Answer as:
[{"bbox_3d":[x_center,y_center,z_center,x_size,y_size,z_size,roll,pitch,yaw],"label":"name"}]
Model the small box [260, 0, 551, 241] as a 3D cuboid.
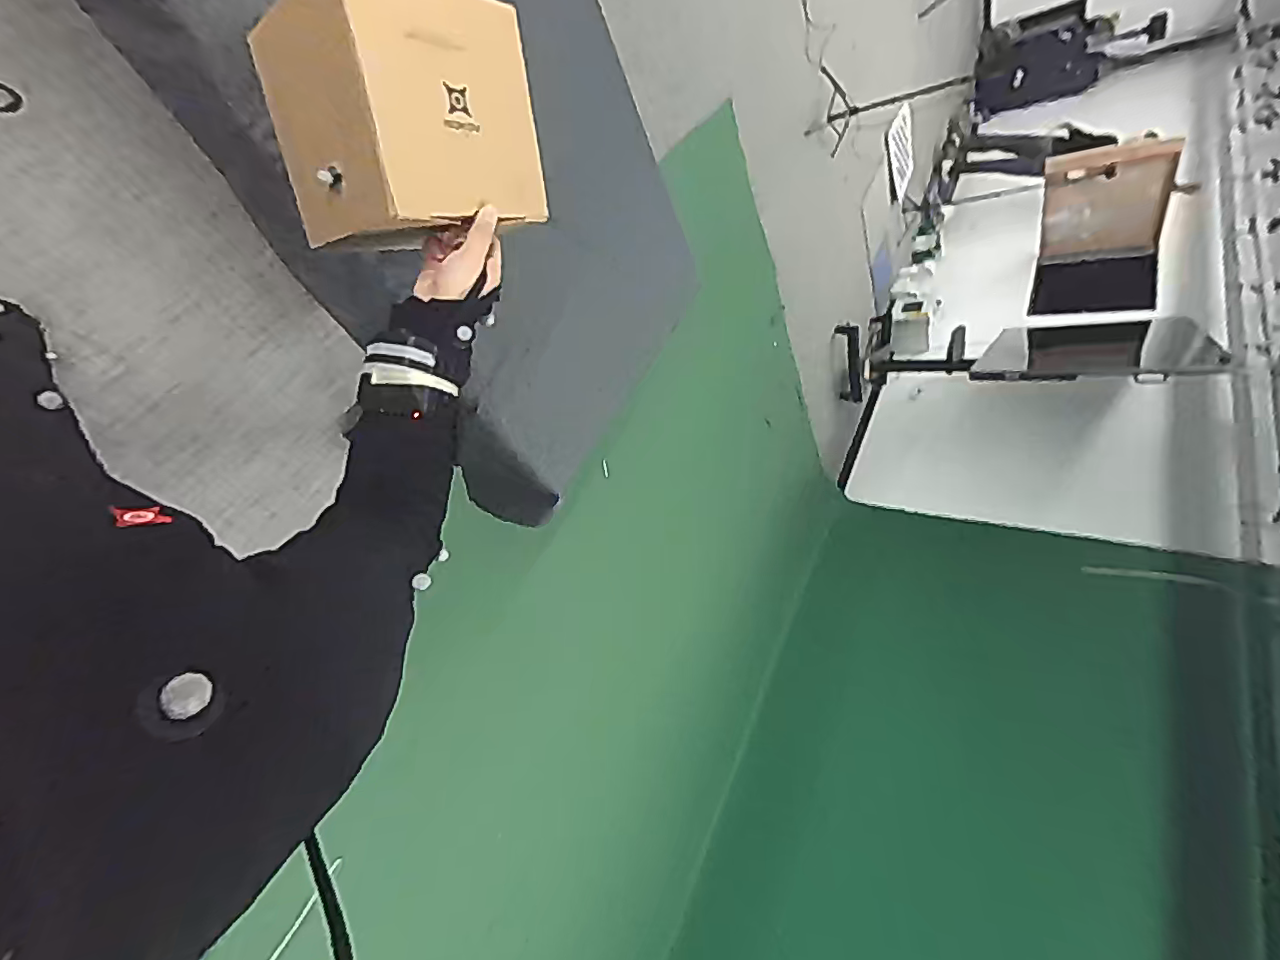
[{"bbox_3d":[-0.212,-0.326,0.505,0.168,0.176,0.179,-30,119,-46],"label":"small box"}]
